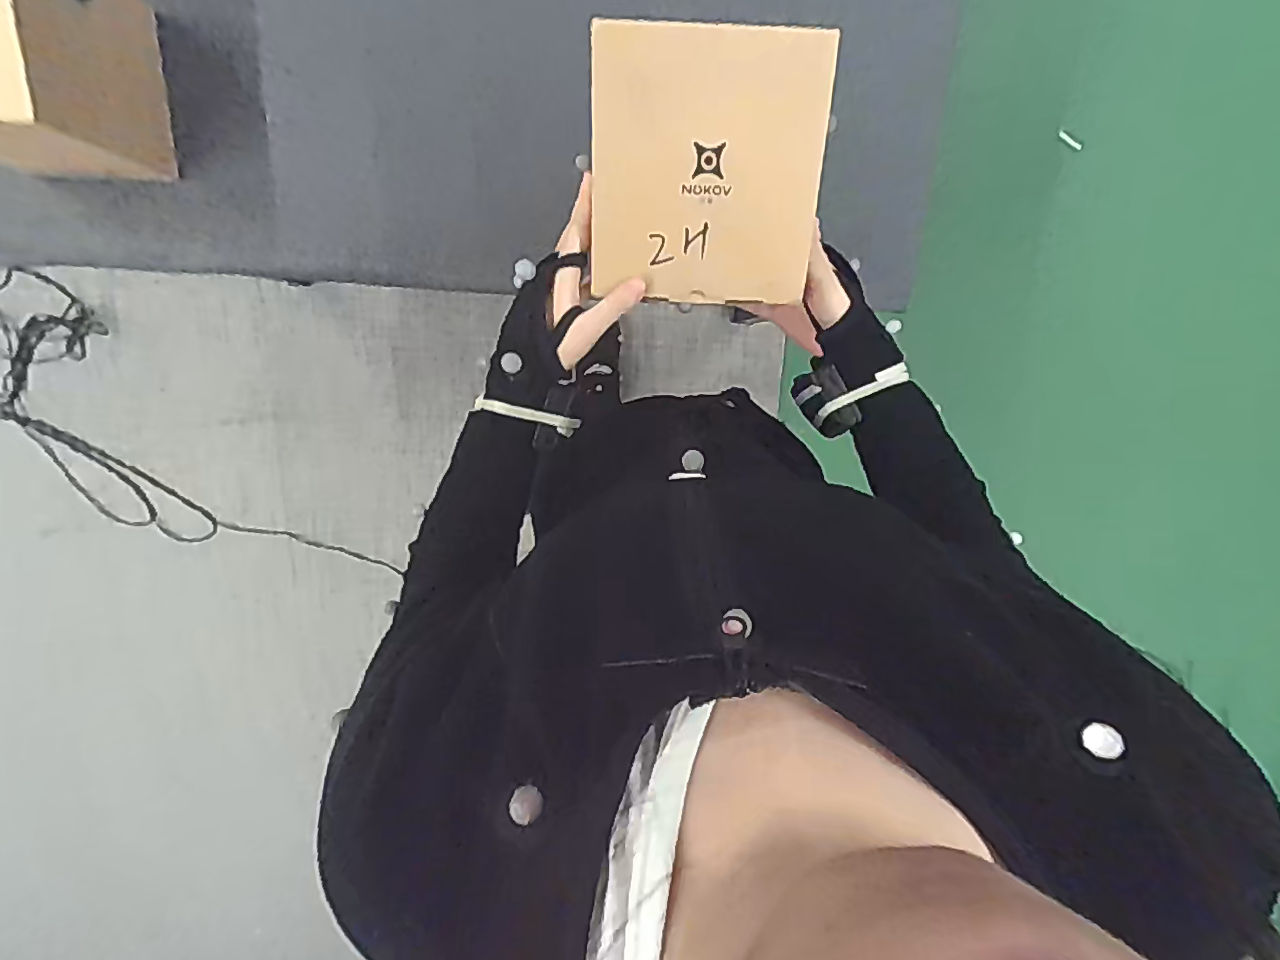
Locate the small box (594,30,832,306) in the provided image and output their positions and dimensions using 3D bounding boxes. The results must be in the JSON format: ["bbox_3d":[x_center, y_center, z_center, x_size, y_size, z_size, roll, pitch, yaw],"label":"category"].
[{"bbox_3d":[0.049,-0.250,0.471,0.168,0.176,0.179,2,112,1],"label":"small box"}]
